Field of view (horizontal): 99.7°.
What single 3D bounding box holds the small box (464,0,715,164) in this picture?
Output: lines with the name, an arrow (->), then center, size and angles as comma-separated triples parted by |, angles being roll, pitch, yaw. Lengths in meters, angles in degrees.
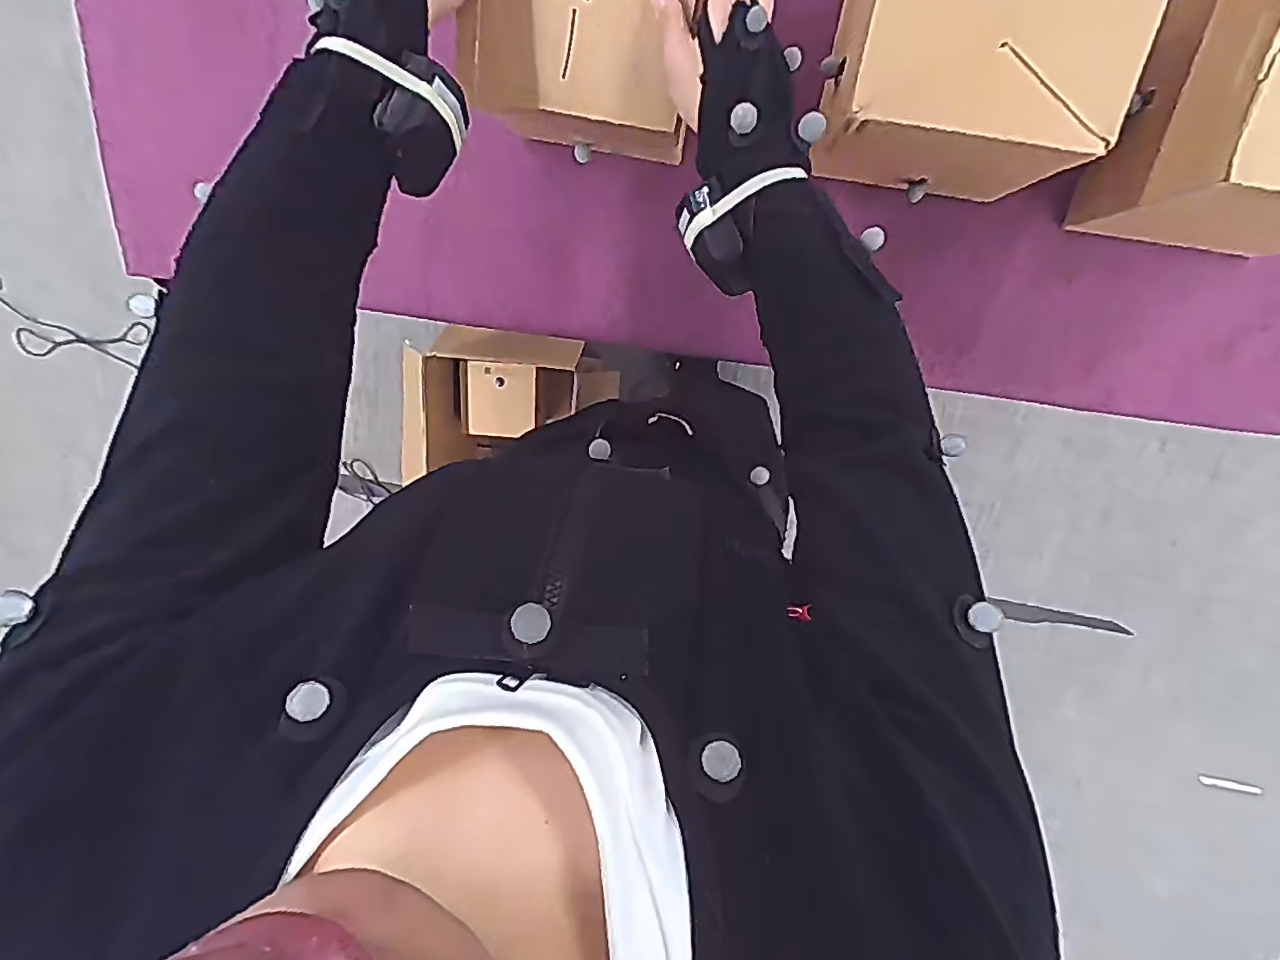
small box -> -0.027, -0.377, 0.434 | 0.168, 0.176, 0.179 | 11, 114, 1

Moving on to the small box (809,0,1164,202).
small box -> 0.252, -0.336, 0.421 | 0.179, 0.176, 0.168 | 11, 106, 4

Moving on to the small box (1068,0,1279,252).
small box -> 0.491, -0.280, 0.411 | 0.179, 0.176, 0.168 | 11, 105, 3
